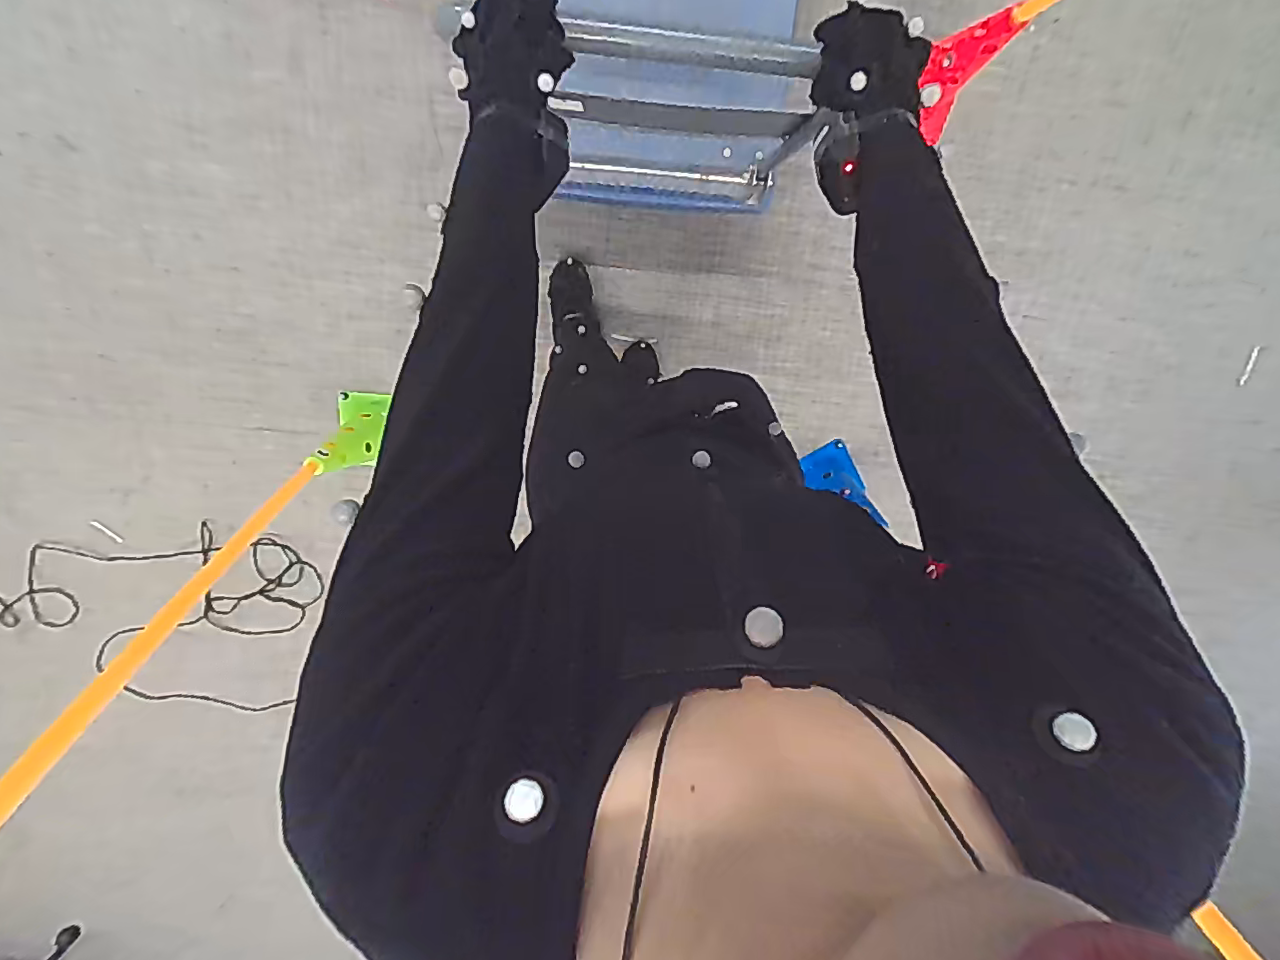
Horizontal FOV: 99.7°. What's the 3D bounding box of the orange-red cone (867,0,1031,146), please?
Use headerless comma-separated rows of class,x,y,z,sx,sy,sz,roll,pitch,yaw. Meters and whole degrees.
orange-red cone,0.659,-0.865,1.108,0.198,0.360,0.199,16,107,-7
